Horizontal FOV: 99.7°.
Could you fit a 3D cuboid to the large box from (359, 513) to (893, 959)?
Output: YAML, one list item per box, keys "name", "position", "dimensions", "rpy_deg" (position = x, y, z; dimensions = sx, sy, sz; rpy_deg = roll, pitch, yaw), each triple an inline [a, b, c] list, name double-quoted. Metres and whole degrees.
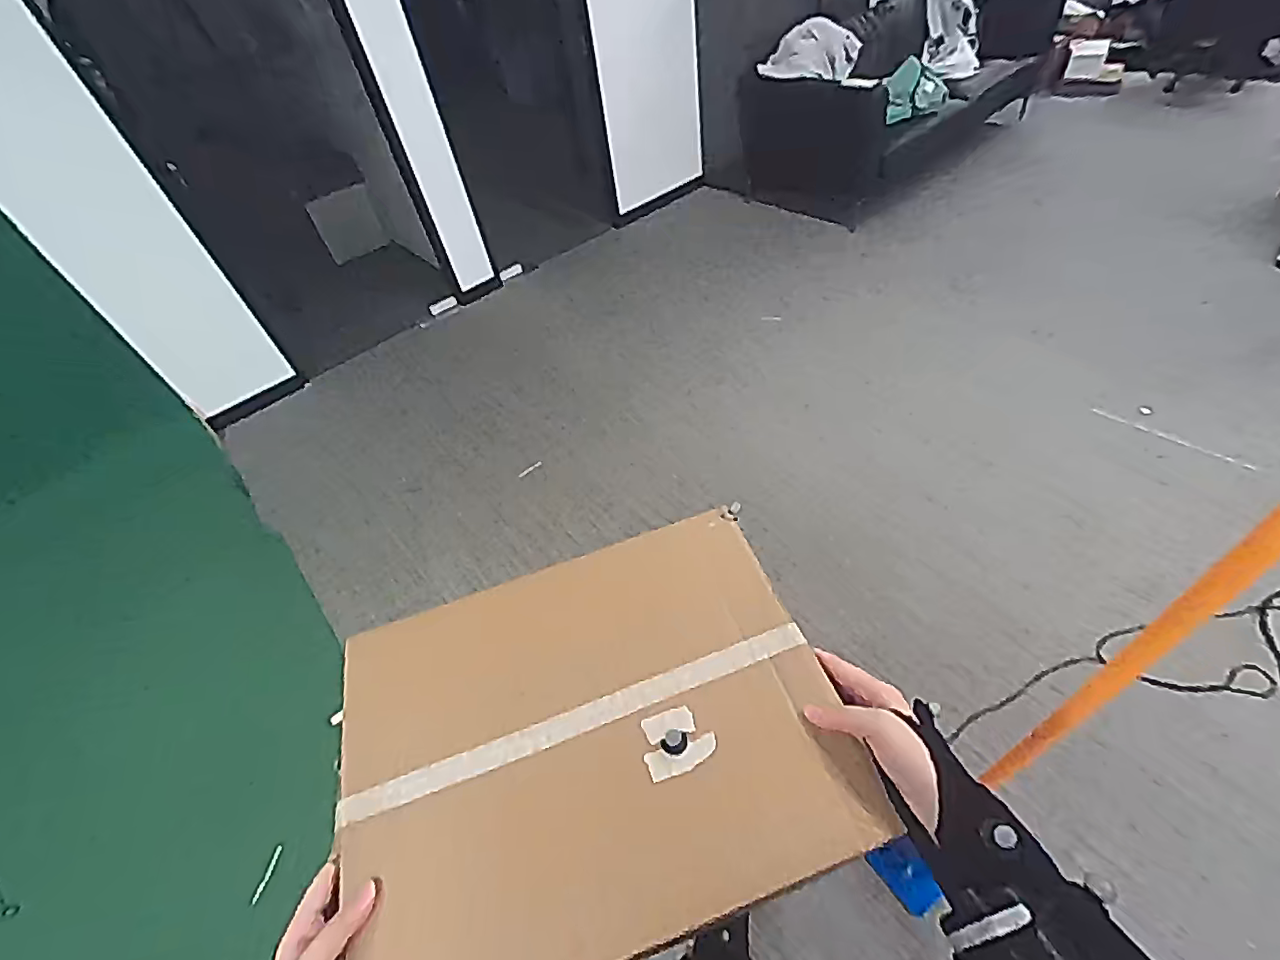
- name: "large box"
  position: [-0.028, 0.300, 0.580]
  dimensions: [0.408, 0.320, 0.320]
  rpy_deg: [-18, 51, -8]

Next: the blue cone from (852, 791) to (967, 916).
- name: "blue cone"
  position: [0.573, 0.710, 1.083]
  dimensions: [0.192, 0.380, 0.193]
  rpy_deg: [-29, 49, -16]
